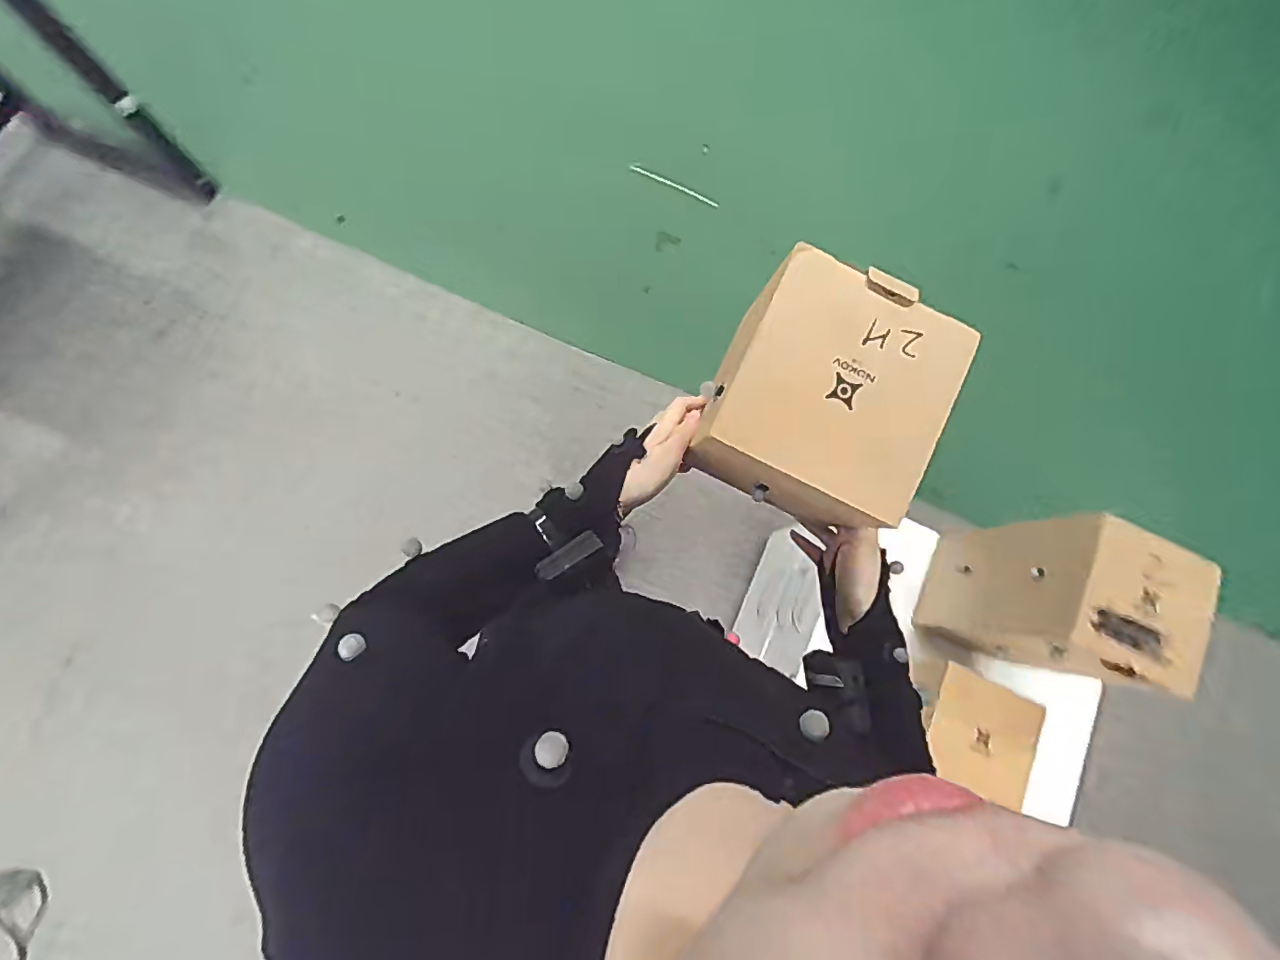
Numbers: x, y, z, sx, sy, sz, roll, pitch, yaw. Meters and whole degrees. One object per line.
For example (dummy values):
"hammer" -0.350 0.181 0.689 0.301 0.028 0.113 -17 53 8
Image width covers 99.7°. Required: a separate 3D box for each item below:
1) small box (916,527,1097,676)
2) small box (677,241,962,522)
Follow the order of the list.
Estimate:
"small box" 0.596 0.197 0.900 0.168 0.176 0.179 25 78 0
"small box" 0.144 -0.073 0.500 0.168 0.176 0.179 25 84 -3
